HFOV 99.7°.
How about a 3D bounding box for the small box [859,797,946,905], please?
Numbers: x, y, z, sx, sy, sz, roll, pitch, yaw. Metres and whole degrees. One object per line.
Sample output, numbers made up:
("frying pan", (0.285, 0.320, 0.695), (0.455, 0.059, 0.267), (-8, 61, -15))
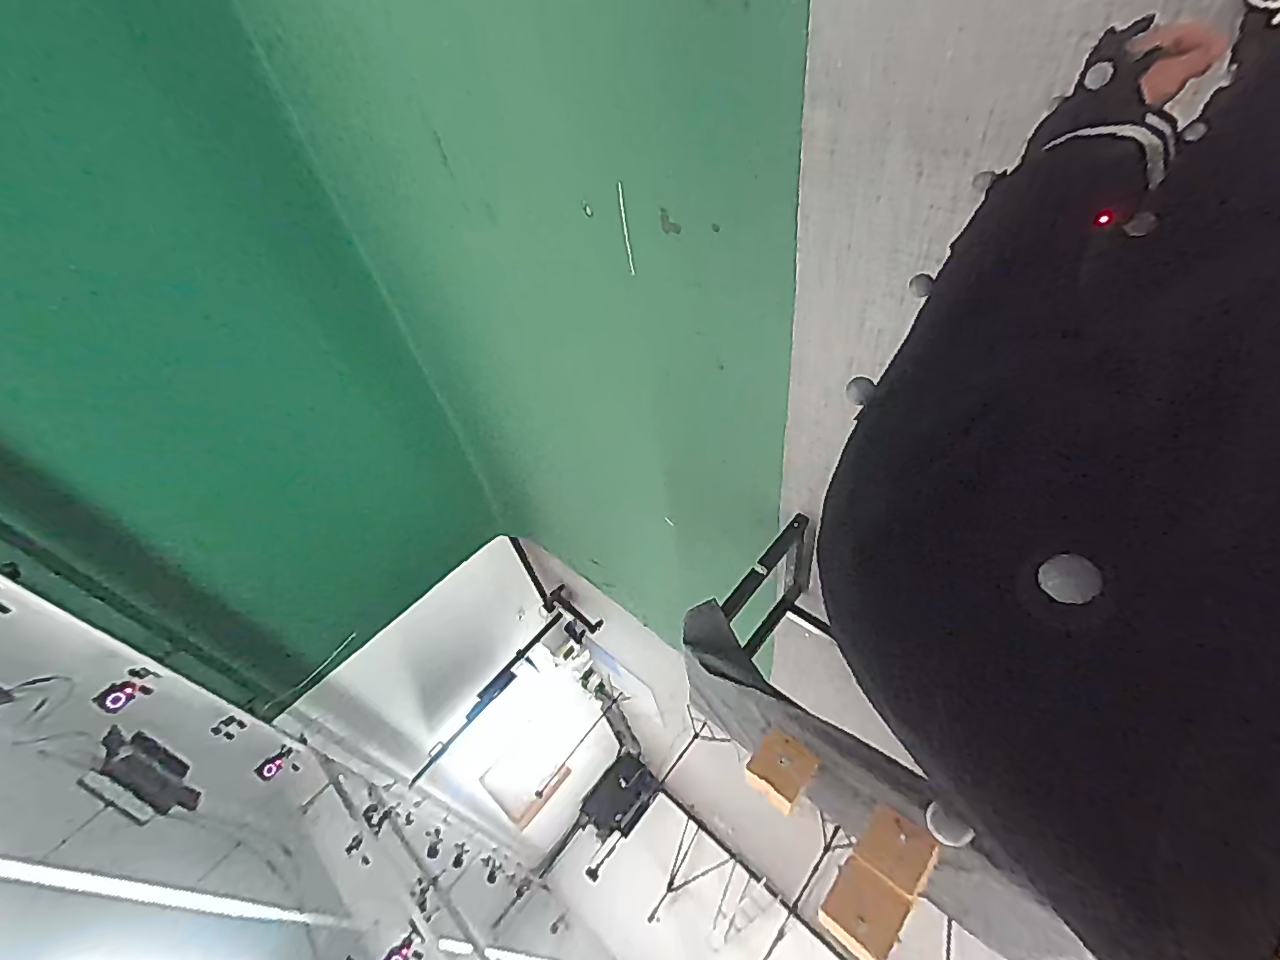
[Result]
("small box", (0.727, 1.030, 1.498), (0.168, 0.176, 0.179), (22, 144, 41))

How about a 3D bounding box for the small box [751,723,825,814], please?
("small box", (0.469, 0.912, 1.719), (0.168, 0.176, 0.179), (29, 148, 32))

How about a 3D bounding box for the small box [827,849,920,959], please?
("small box", (0.620, 1.139, 1.440), (0.179, 0.176, 0.168), (26, 145, 38))
